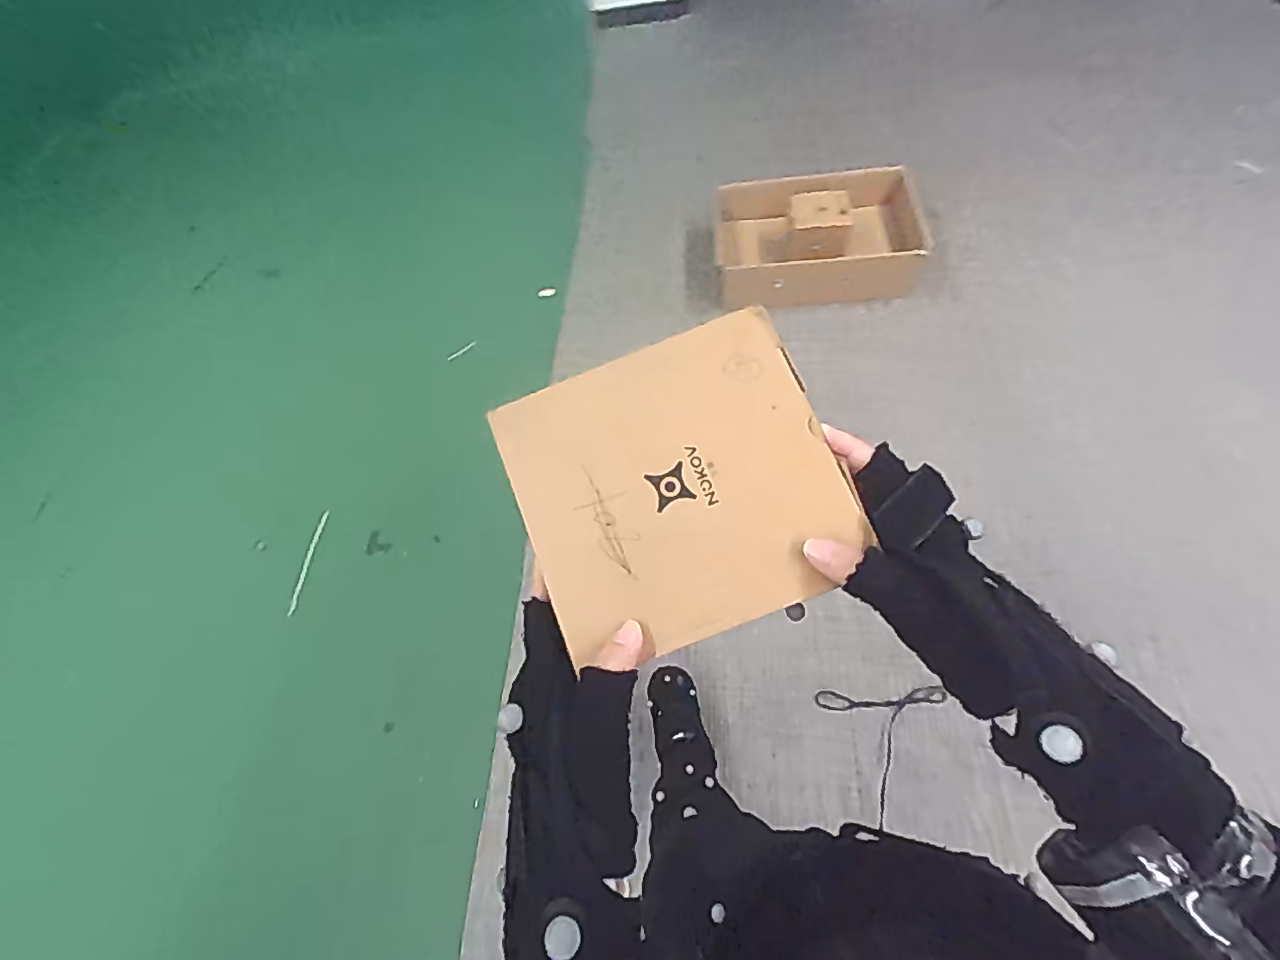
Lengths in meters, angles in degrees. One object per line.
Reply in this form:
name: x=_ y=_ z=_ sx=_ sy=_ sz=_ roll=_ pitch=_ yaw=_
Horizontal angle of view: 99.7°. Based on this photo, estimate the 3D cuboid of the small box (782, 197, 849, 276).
small box: x=0.562 y=-0.785 z=1.760 sx=0.179 sy=0.176 sz=0.168 roll=-4 pitch=61 yaw=7

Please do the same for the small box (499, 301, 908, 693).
small box: x=0.034 y=0.018 z=0.370 sx=0.179 sy=0.176 sz=0.168 roll=-25 pitch=77 yaw=-1
